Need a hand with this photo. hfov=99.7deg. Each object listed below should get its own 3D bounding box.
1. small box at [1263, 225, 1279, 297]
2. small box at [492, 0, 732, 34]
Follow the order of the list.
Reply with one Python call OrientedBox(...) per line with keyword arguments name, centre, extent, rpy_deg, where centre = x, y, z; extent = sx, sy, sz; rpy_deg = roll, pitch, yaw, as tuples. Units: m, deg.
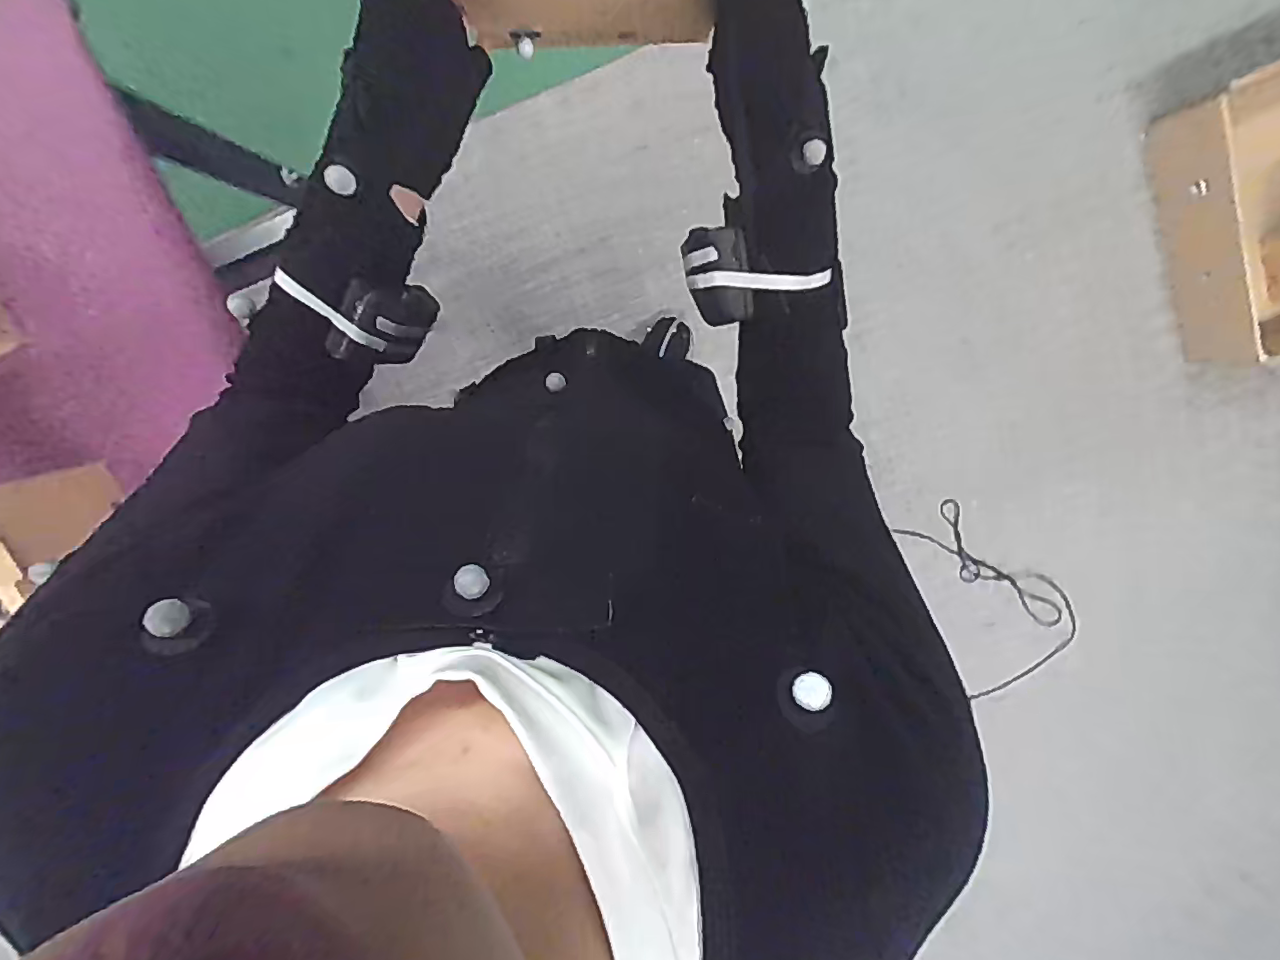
OrientedBox(name="small box", centre=(1.604, -0.539, 1.240), extent=(0.179, 0.176, 0.168), rpy_deg=(-27, 101, 5))
OrientedBox(name="small box", centre=(-0.018, -0.373, 0.290), extent=(0.168, 0.176, 0.179), rpy_deg=(-2, 111, -1))
